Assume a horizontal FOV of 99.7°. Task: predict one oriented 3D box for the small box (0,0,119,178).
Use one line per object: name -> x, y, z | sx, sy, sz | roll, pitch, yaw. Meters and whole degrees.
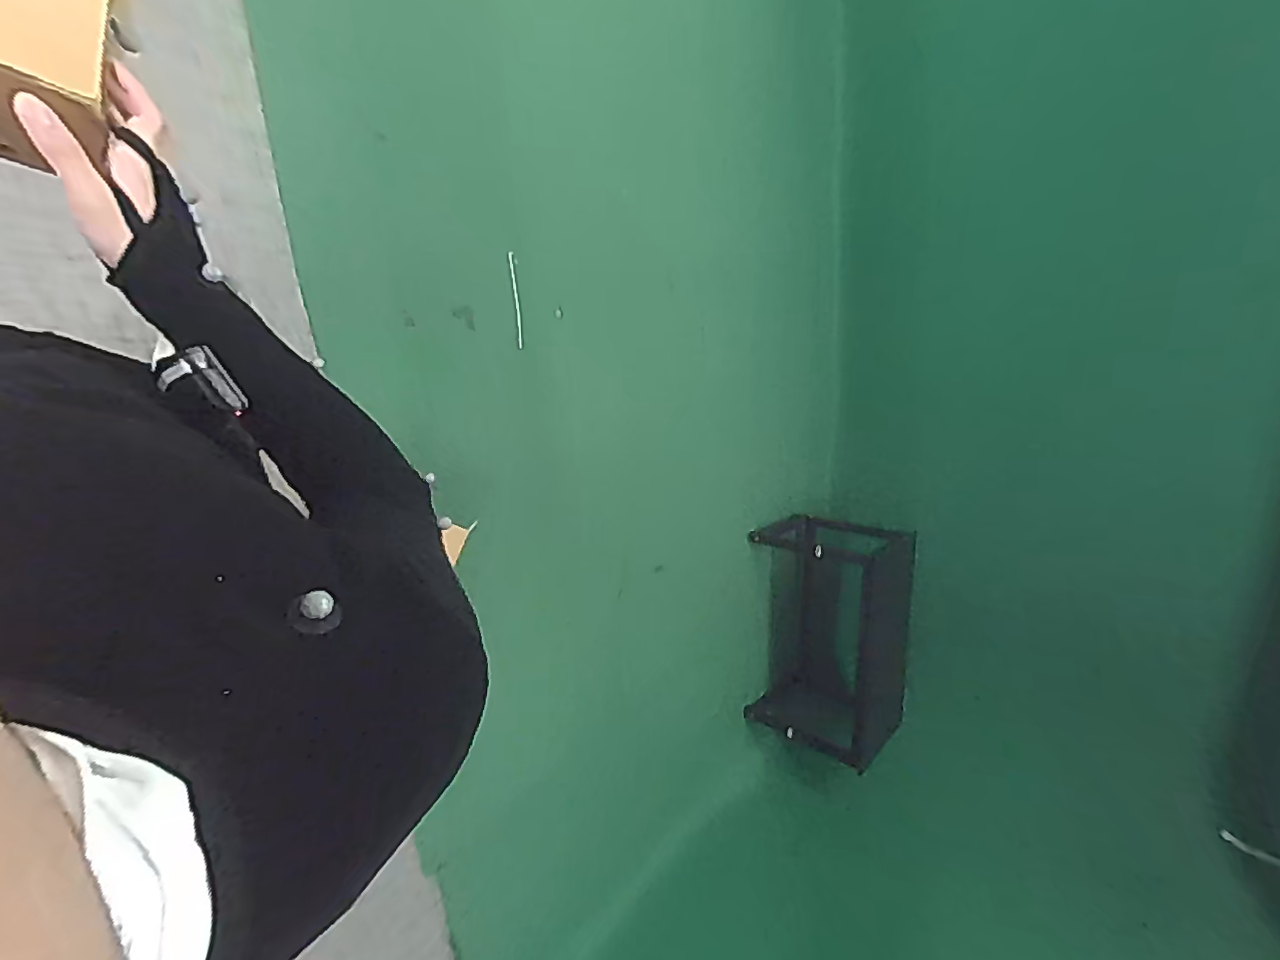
small box -> -0.502, -0.366, 0.396 | 0.168, 0.176, 0.179 | 5, 89, -43
